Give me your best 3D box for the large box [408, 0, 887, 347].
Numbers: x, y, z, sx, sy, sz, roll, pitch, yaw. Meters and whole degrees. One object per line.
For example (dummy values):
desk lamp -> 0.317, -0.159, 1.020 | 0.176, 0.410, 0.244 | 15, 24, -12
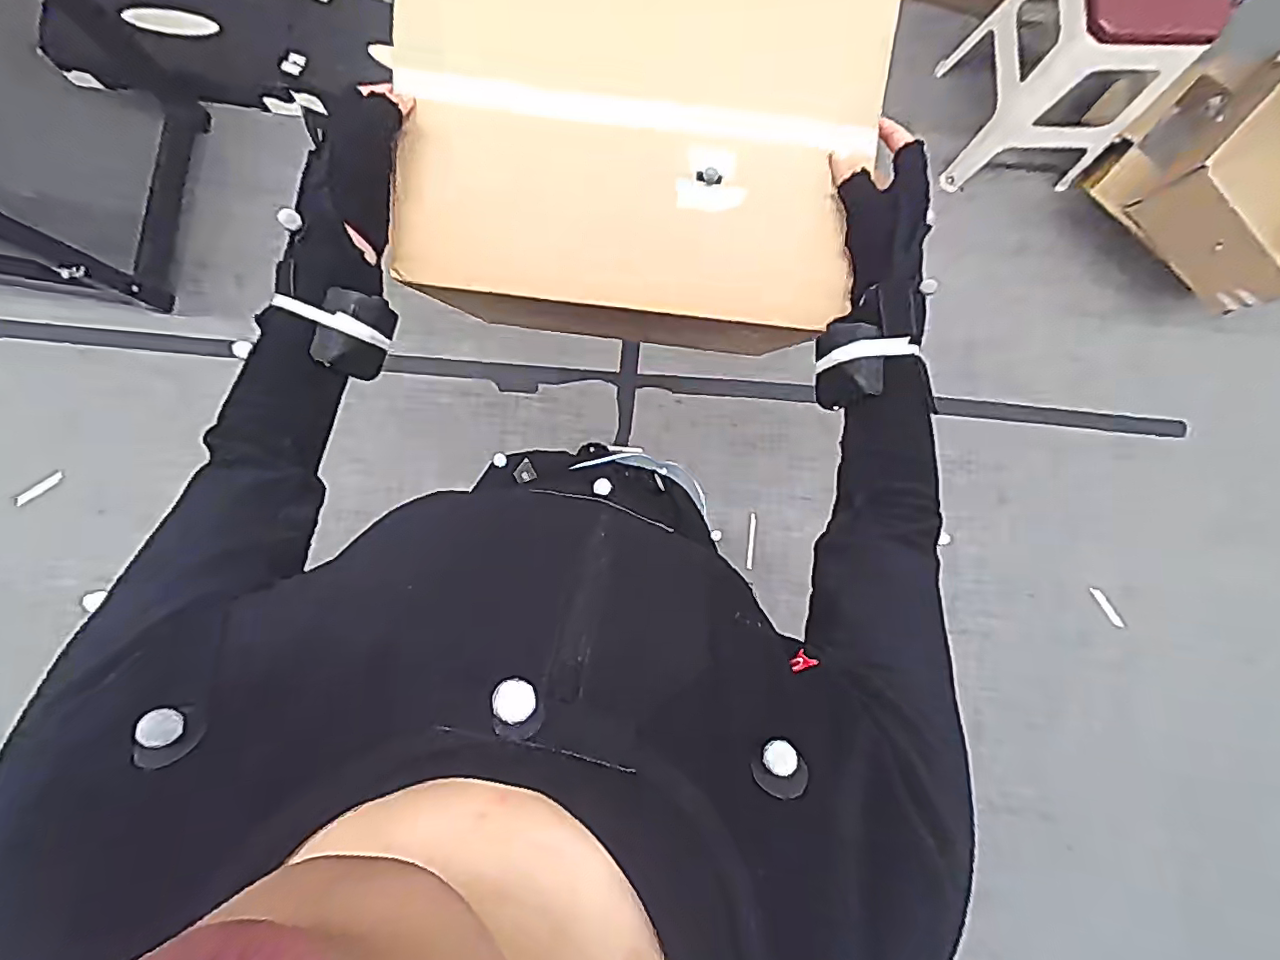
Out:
large box -> -0.003, -0.338, 0.618 | 0.408, 0.320, 0.320 | 6, 100, -2
